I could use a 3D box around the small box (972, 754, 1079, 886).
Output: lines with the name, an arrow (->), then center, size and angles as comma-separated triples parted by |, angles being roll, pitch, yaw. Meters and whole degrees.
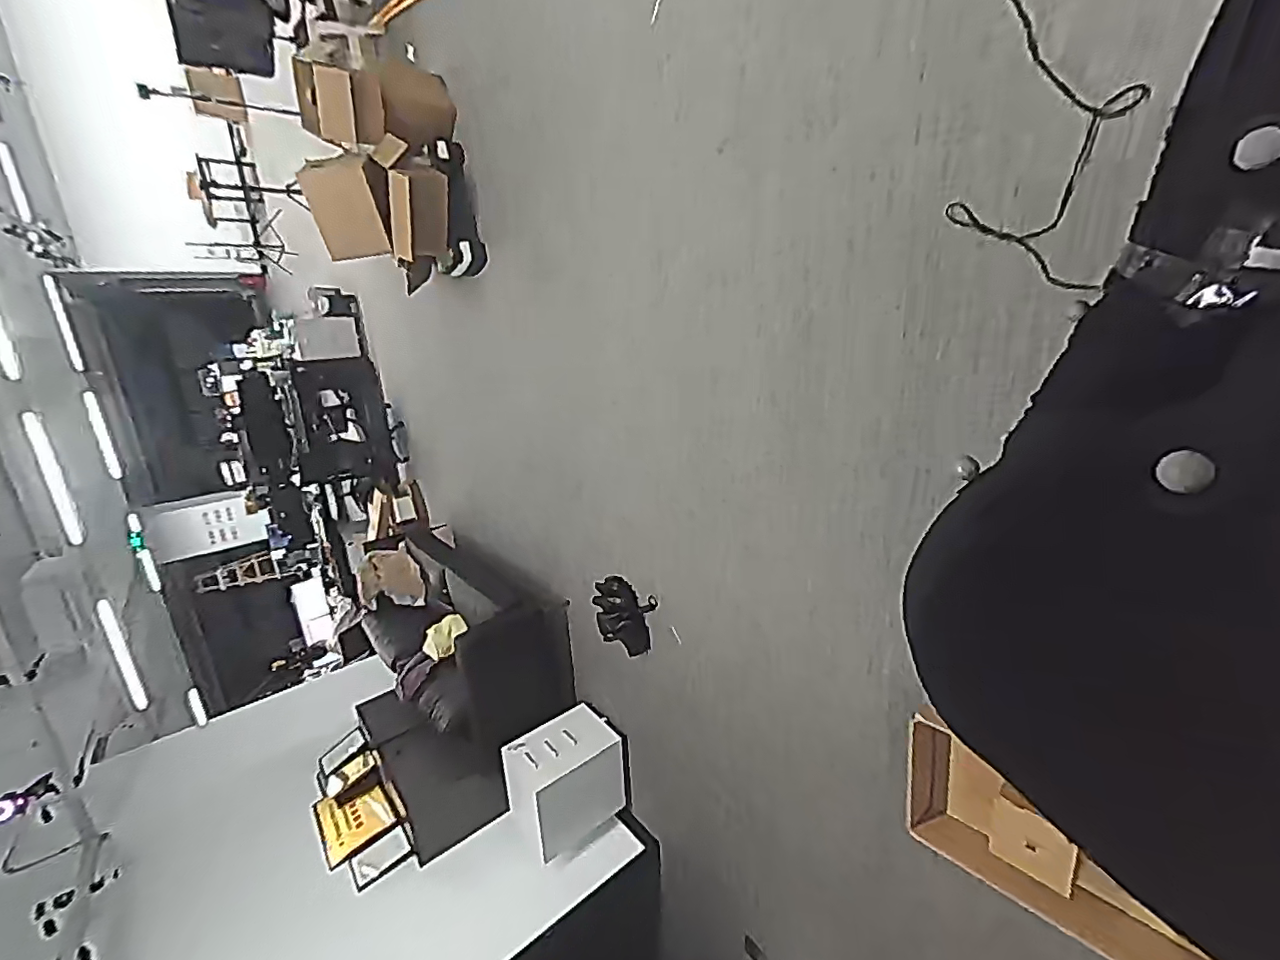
small box -> 0.939, 0.813, 1.315 | 0.168, 0.176, 0.179 | 15, 116, 50
